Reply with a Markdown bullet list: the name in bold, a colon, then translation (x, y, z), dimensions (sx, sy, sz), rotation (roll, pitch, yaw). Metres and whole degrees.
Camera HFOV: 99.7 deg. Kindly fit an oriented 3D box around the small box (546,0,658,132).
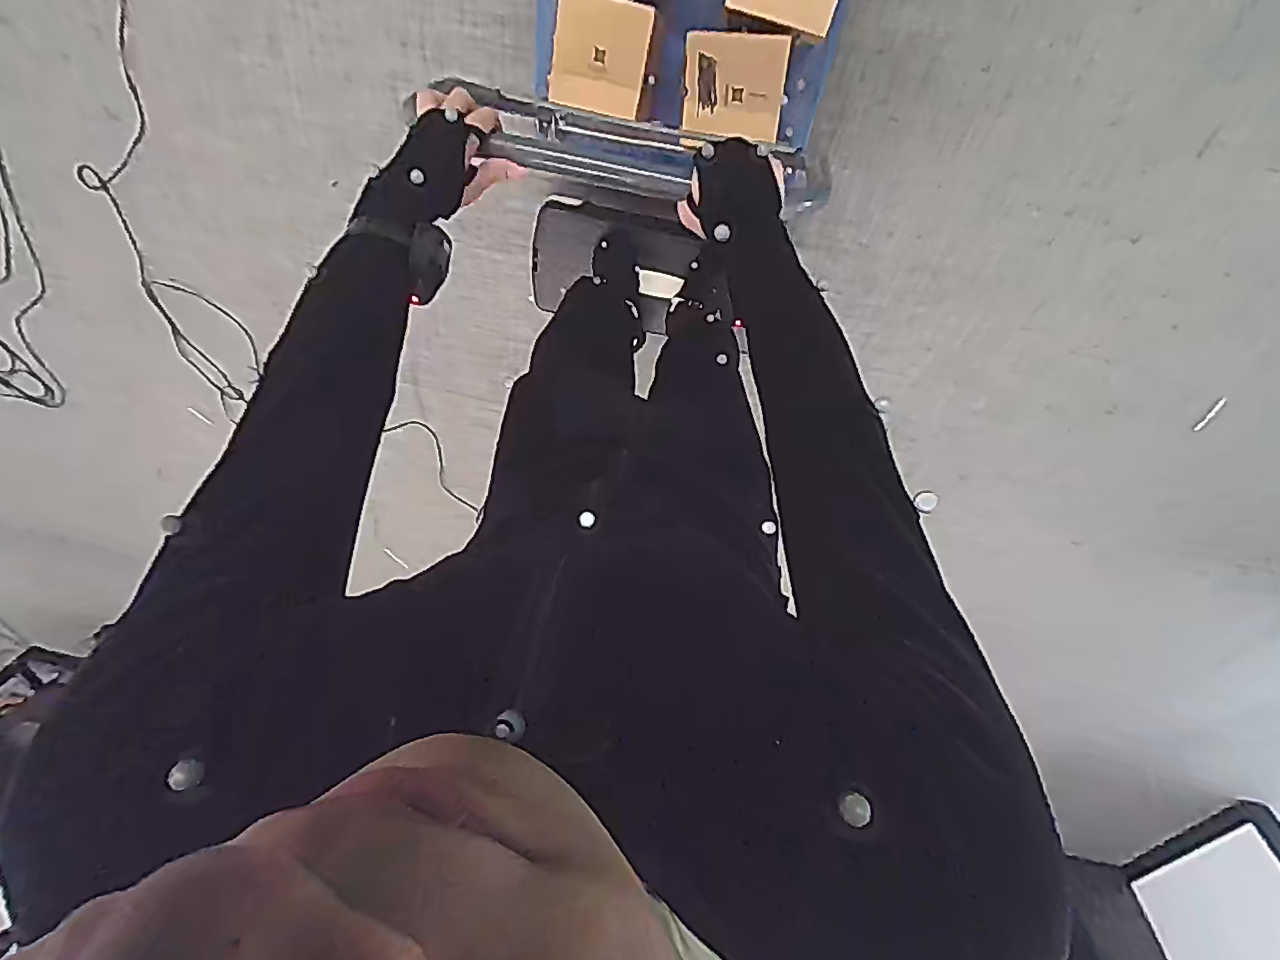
- **small box**: translation (-0.066, -0.775, 1.009), dimensions (0.168, 0.176, 0.179), rotation (15, 126, -2)
